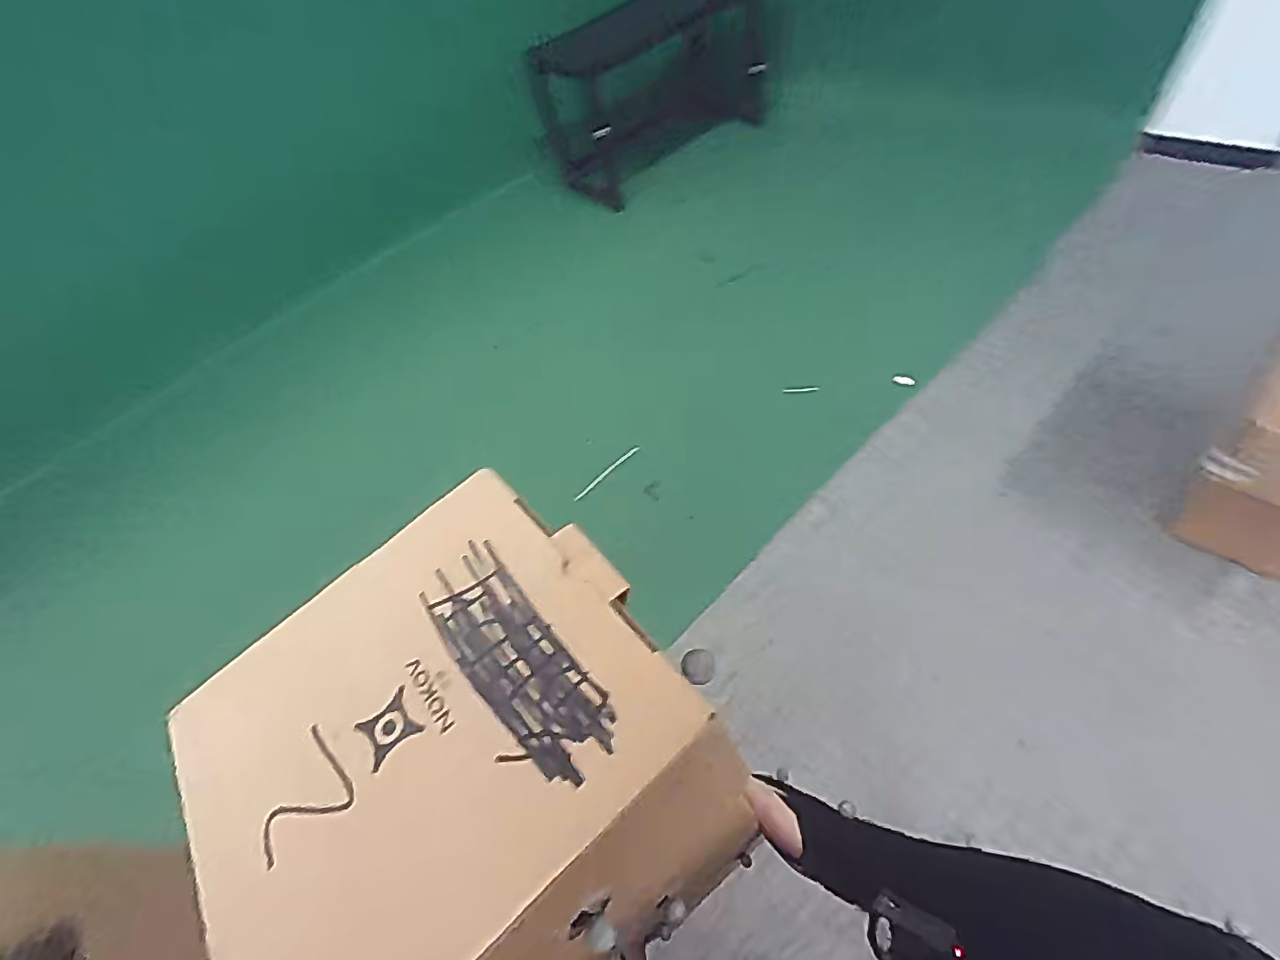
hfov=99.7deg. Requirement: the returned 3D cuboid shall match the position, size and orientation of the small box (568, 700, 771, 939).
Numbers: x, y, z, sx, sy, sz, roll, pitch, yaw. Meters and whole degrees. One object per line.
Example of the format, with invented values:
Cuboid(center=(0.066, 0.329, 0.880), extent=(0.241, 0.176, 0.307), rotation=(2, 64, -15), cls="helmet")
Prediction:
Cuboid(center=(0.045, 0.410, 0.662), extent=(0.179, 0.176, 0.168), rotation=(-36, 53, -12), cls="small box")
